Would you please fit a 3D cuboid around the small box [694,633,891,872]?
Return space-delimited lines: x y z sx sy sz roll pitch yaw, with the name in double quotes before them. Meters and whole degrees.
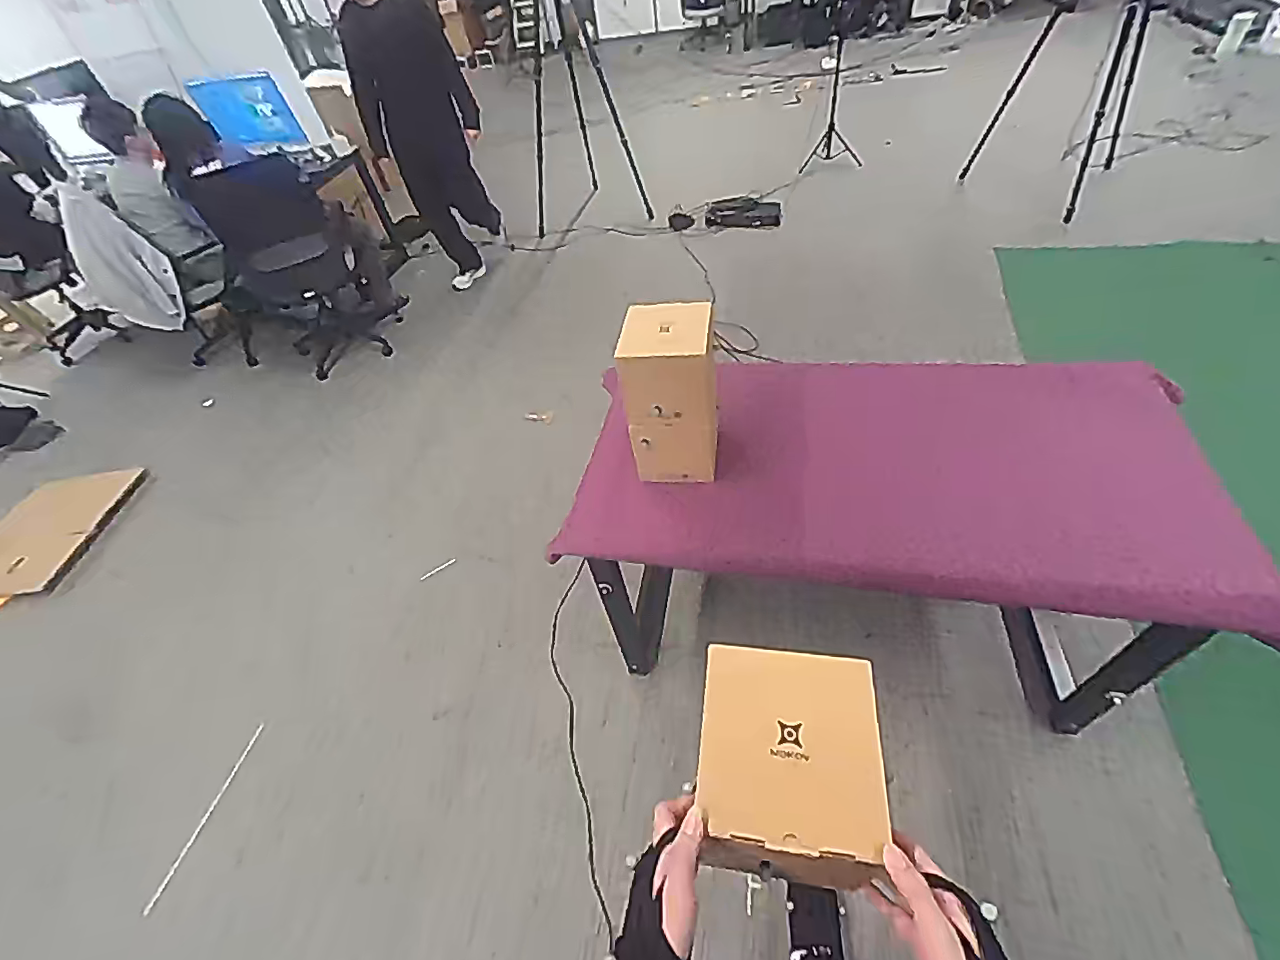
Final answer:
"small box" 0.147 0.287 0.572 0.168 0.176 0.179 4 49 9

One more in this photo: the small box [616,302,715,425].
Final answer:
"small box" 0.059 -0.228 1.058 0.168 0.176 0.179 2 49 12
